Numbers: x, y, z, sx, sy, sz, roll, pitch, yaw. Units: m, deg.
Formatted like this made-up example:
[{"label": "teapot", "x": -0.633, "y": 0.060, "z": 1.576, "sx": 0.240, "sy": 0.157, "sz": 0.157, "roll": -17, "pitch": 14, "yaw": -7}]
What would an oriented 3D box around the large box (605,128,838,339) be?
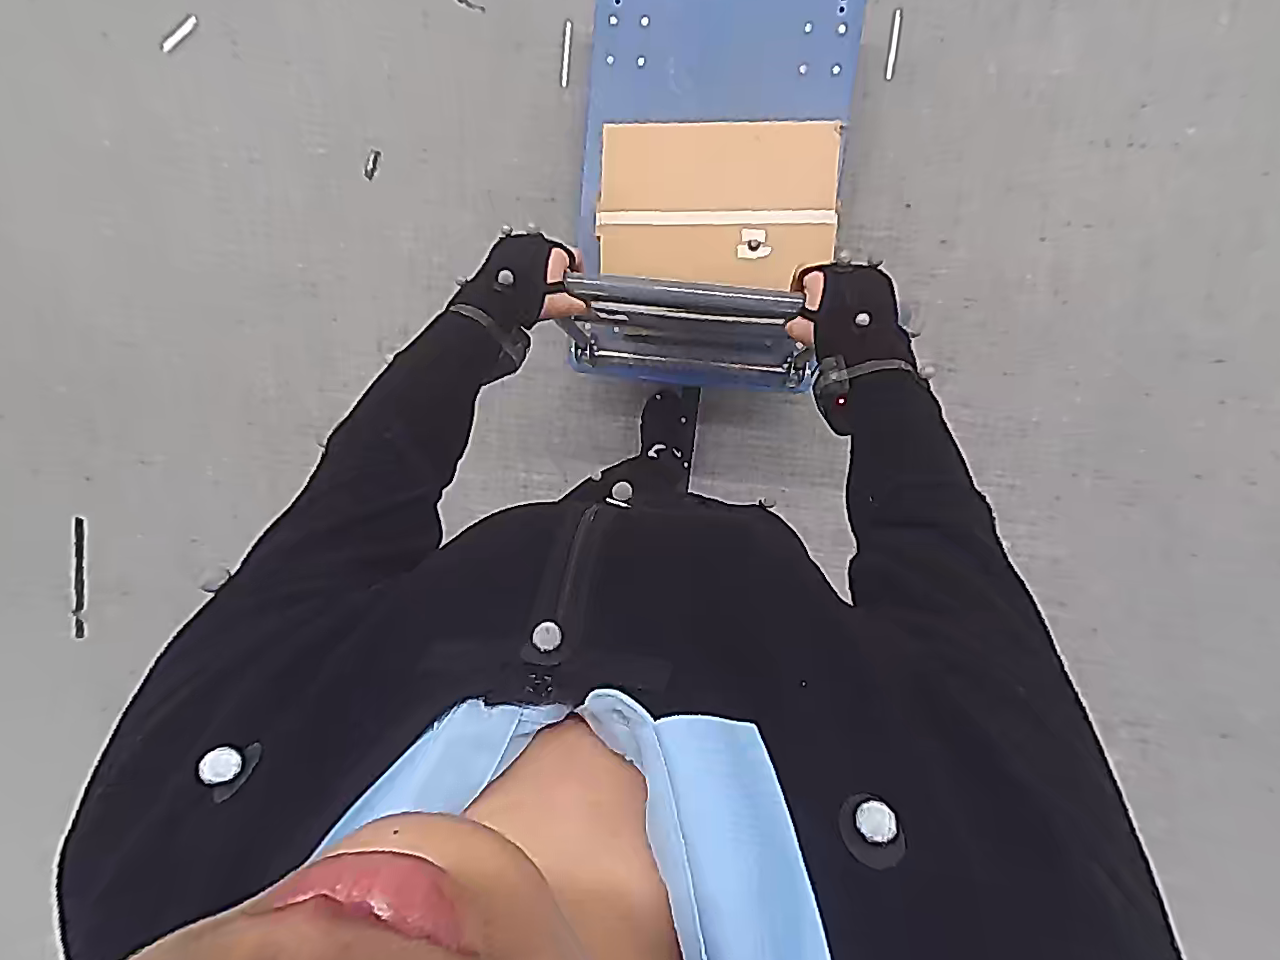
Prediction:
[{"label": "large box", "x": 0.144, "y": -0.466, "z": 1.092, "sx": 0.408, "sy": 0.320, "sz": 0.320, "roll": 2, "pitch": 97, "yaw": 4}]
